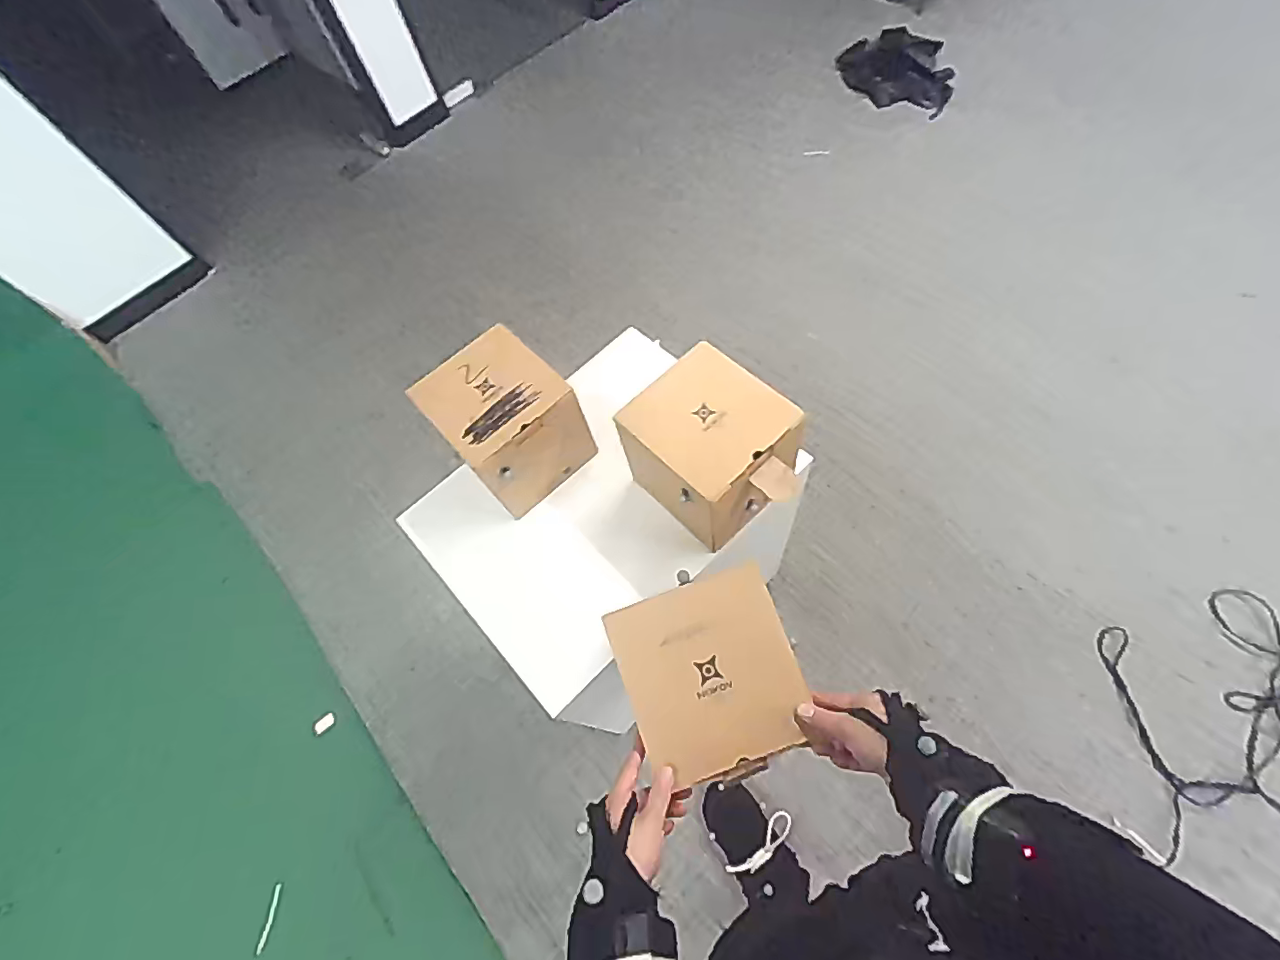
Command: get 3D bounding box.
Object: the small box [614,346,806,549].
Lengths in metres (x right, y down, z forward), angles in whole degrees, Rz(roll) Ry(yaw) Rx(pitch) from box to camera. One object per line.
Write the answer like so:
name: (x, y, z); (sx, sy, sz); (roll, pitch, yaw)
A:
small box: (0.092, -0.037, 0.725); (0.168, 0.176, 0.179); (-42, 64, -13)

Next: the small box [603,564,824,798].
small box: (0.073, 0.203, 0.590); (0.168, 0.176, 0.179); (-21, 76, -1)
